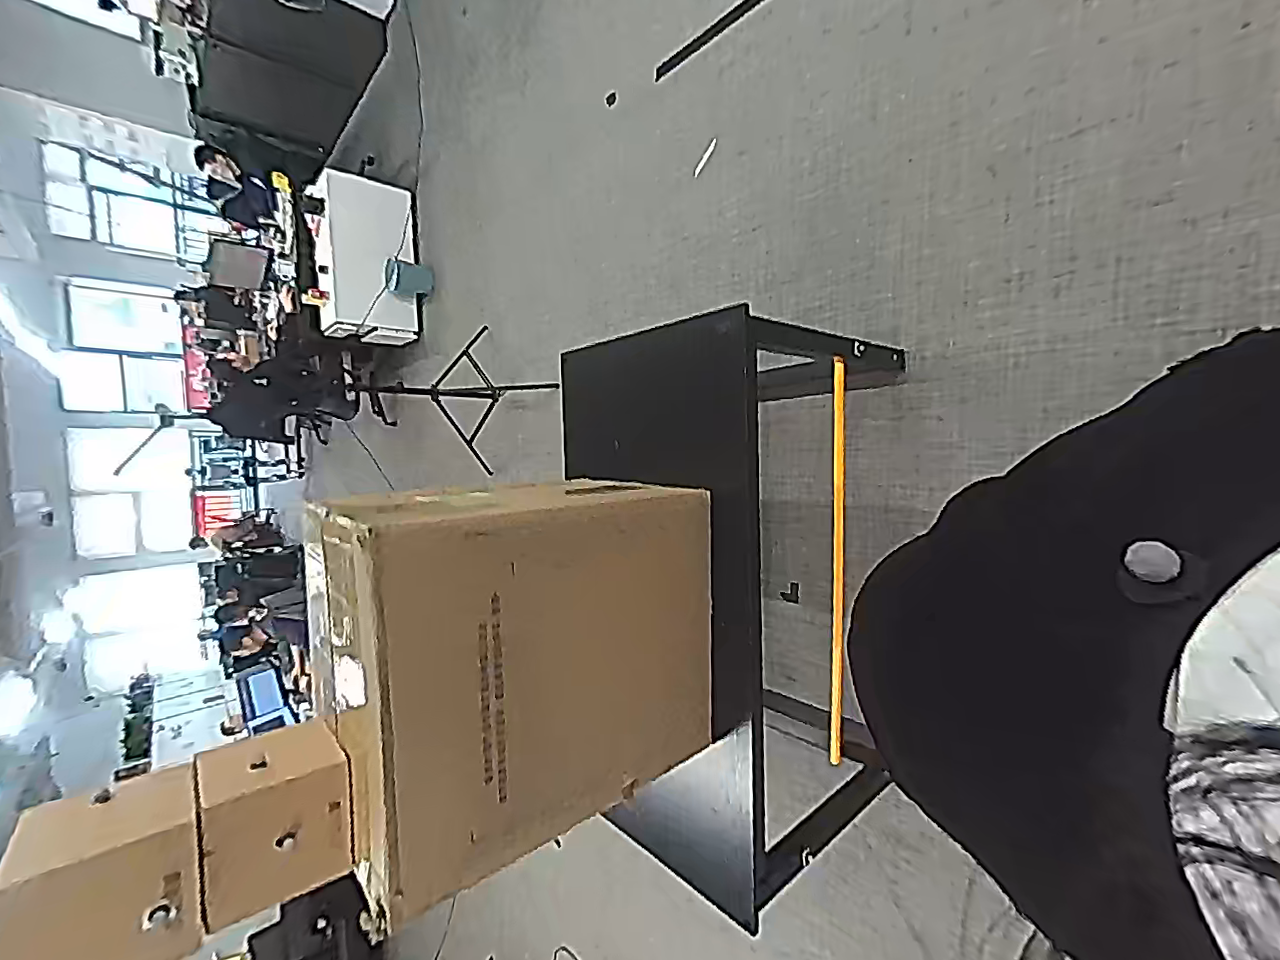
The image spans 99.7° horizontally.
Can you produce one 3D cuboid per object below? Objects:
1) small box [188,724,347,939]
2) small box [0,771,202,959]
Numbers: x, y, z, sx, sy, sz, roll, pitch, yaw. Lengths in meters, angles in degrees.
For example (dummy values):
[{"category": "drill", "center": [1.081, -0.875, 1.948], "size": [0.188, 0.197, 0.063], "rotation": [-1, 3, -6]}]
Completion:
[{"category": "small box", "center": [-0.528, 0.477, 0.773], "size": [0.179, 0.176, 0.168], "rotation": [1, 93, 49]}, {"category": "small box", "center": [-0.643, 0.486, 0.656], "size": [0.179, 0.176, 0.168], "rotation": [0, 93, 49]}]
